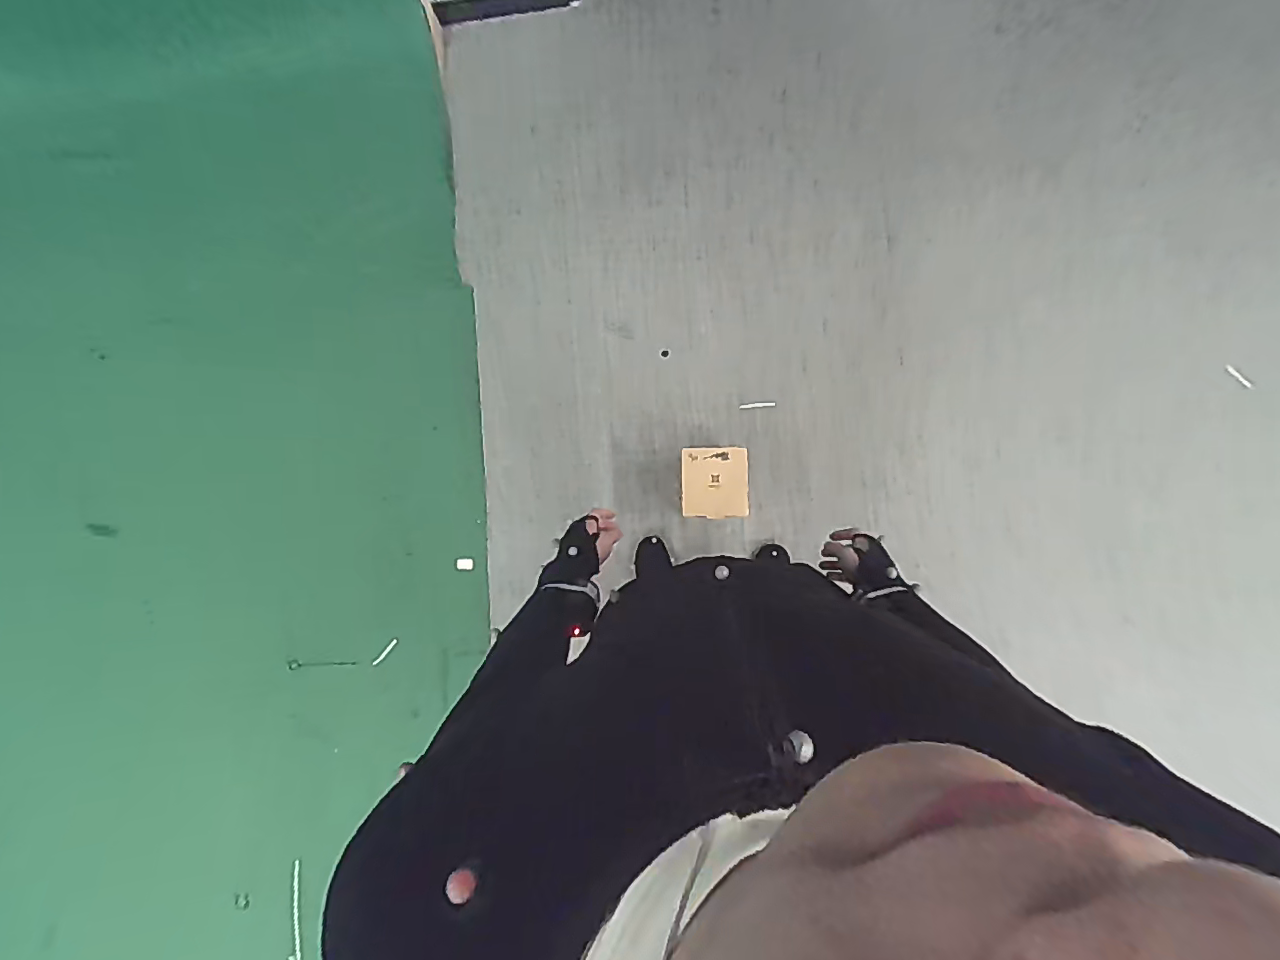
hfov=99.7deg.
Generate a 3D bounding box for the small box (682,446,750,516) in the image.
[{"bbox_3d":[0.195,0.004,1.421,0.168,0.176,0.179,0,87,3],"label":"small box"}]
